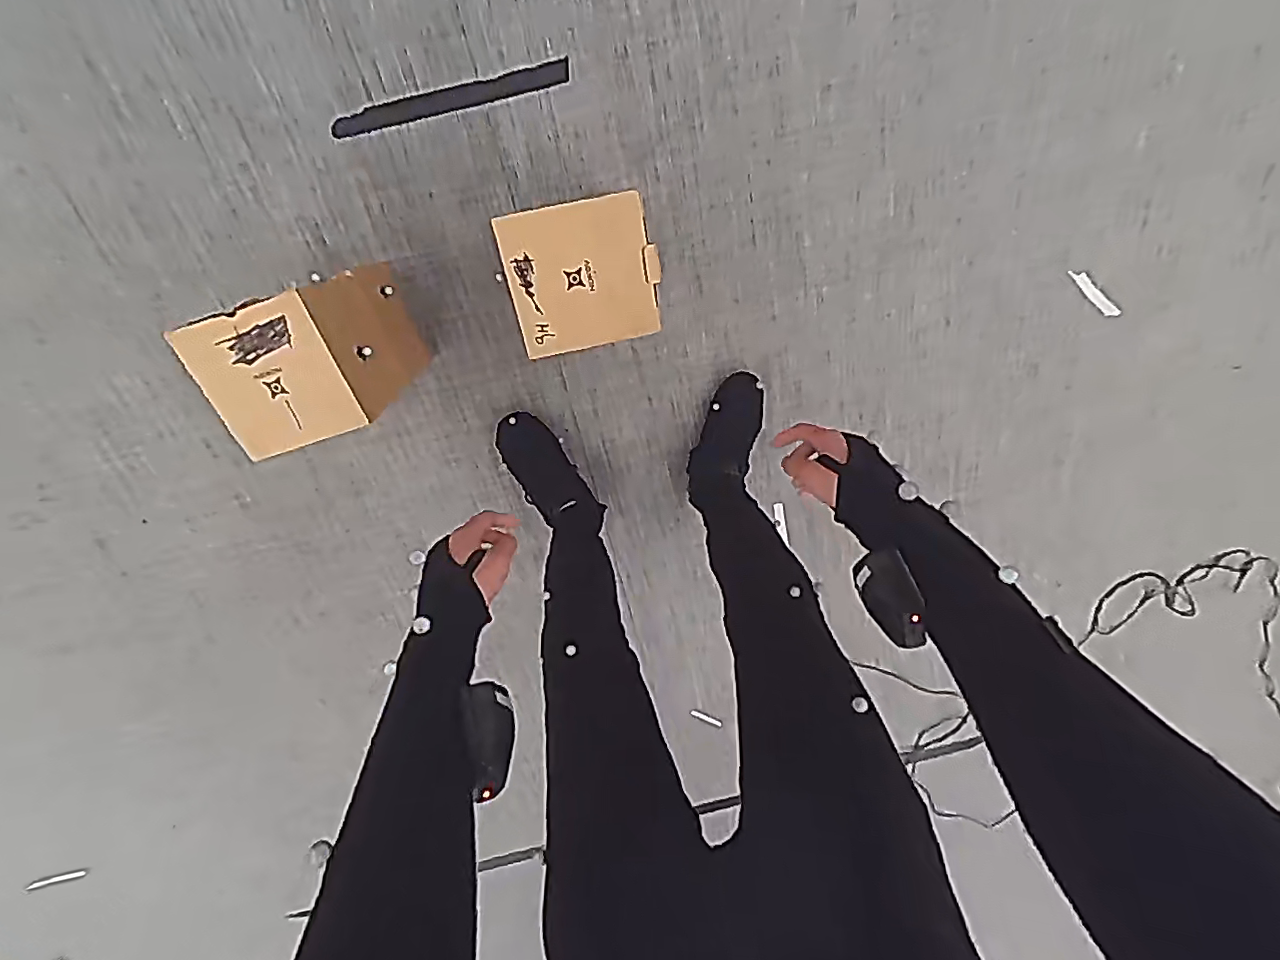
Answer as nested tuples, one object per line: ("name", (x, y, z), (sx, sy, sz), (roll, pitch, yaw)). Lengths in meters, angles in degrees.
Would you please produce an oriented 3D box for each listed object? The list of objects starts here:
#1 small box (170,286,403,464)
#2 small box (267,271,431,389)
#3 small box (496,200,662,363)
("small box", (-0.452, -0.151, 0.727), (0.168, 0.176, 0.179), (-17, 117, 1))
("small box", (-0.466, -0.227, 0.872), (0.168, 0.176, 0.179), (-19, 117, 2))
("small box", (-0.080, -0.269, 0.721), (0.179, 0.176, 0.168), (-12, 116, -3))
